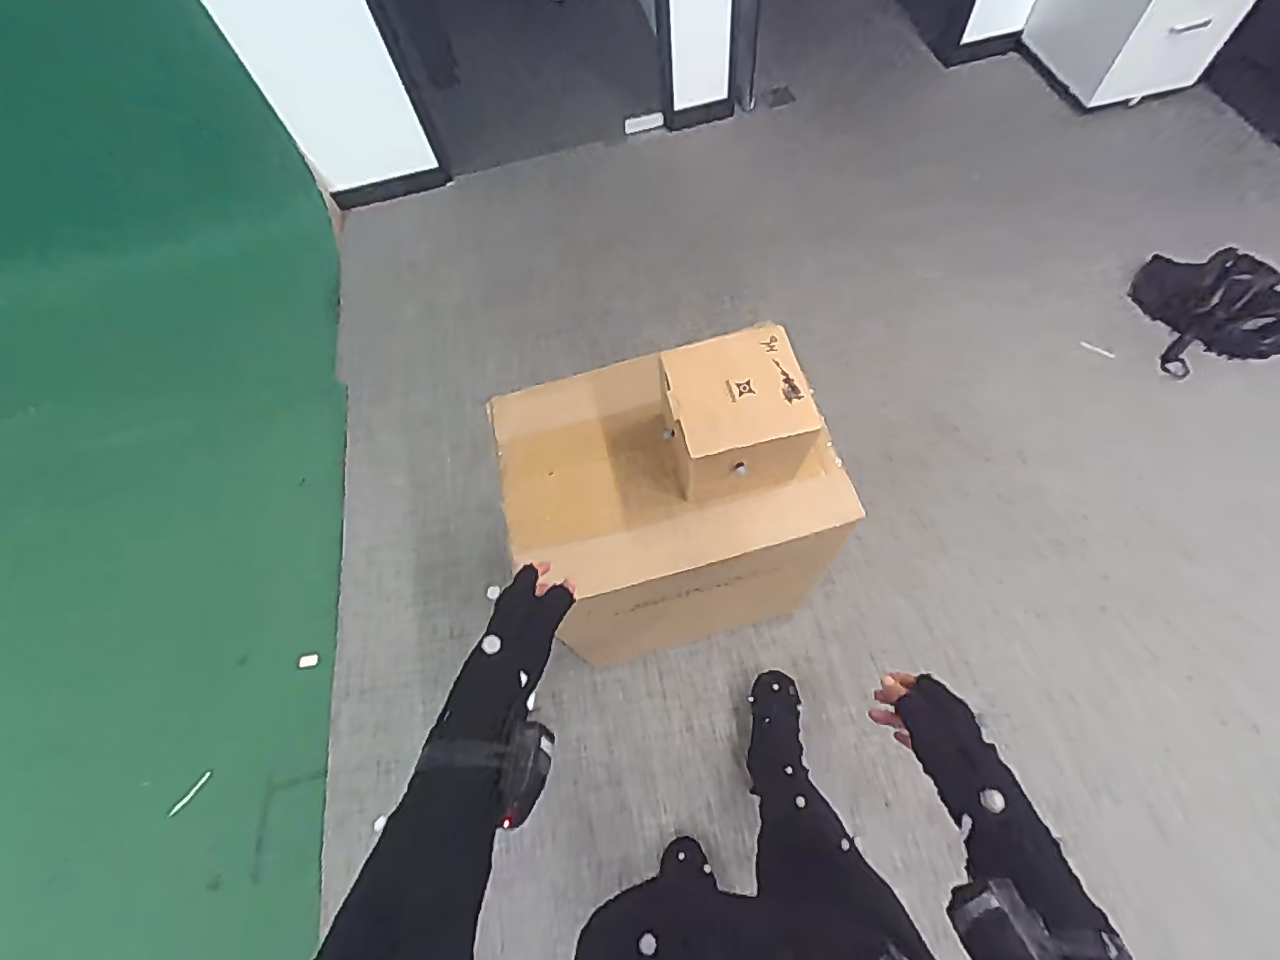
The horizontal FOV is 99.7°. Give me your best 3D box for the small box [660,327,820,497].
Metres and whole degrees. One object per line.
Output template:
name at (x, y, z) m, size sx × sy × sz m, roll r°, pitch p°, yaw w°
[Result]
small box at (0.135, -0.089, 0.785) m, size 0.179 × 0.176 × 0.168 m, roll -13°, pitch 69°, yaw -1°
